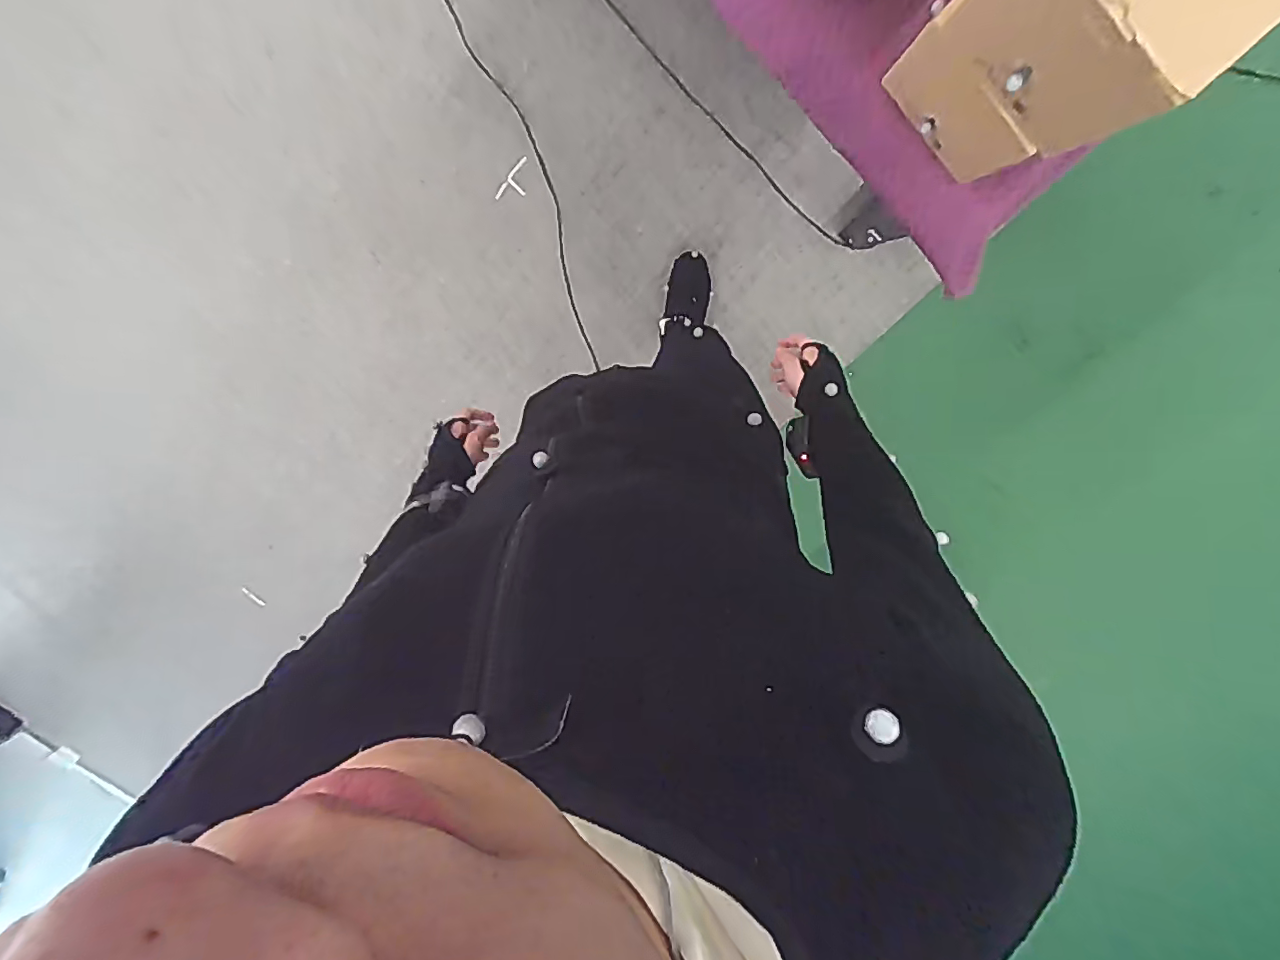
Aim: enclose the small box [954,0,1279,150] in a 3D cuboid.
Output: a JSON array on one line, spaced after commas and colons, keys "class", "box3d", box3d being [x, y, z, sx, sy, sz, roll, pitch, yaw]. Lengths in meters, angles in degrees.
[{"class": "small box", "box3d": [0.395, -0.404, 0.421, 0.168, 0.176, 0.179, 44, 109, -8]}]
